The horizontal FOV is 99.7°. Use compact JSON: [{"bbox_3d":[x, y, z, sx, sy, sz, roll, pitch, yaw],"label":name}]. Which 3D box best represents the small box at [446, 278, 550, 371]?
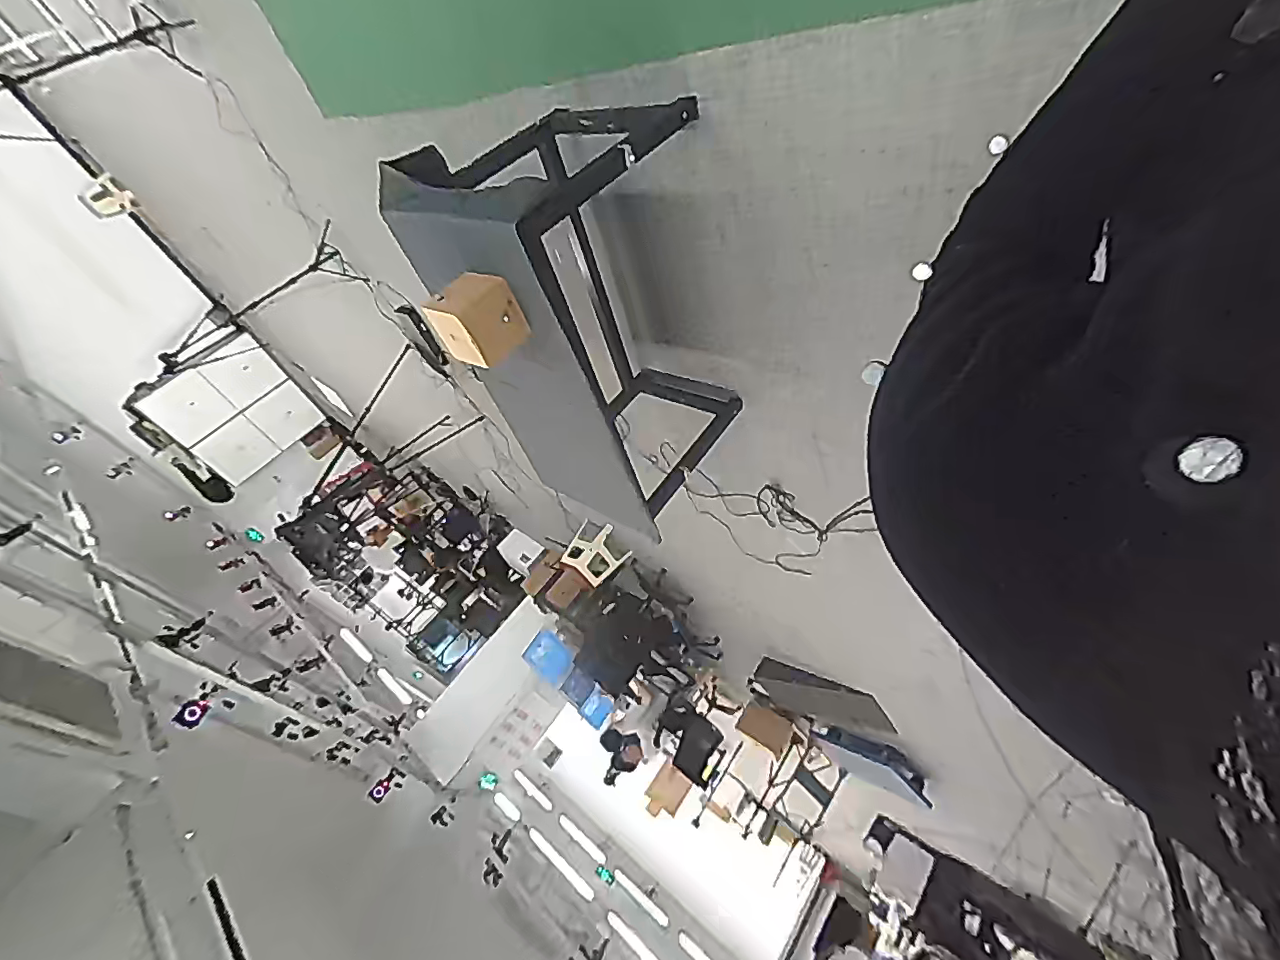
[{"bbox_3d":[-0.377,-0.425,1.457,0.179,0.176,0.168,23,152,38],"label":"small box"}]
